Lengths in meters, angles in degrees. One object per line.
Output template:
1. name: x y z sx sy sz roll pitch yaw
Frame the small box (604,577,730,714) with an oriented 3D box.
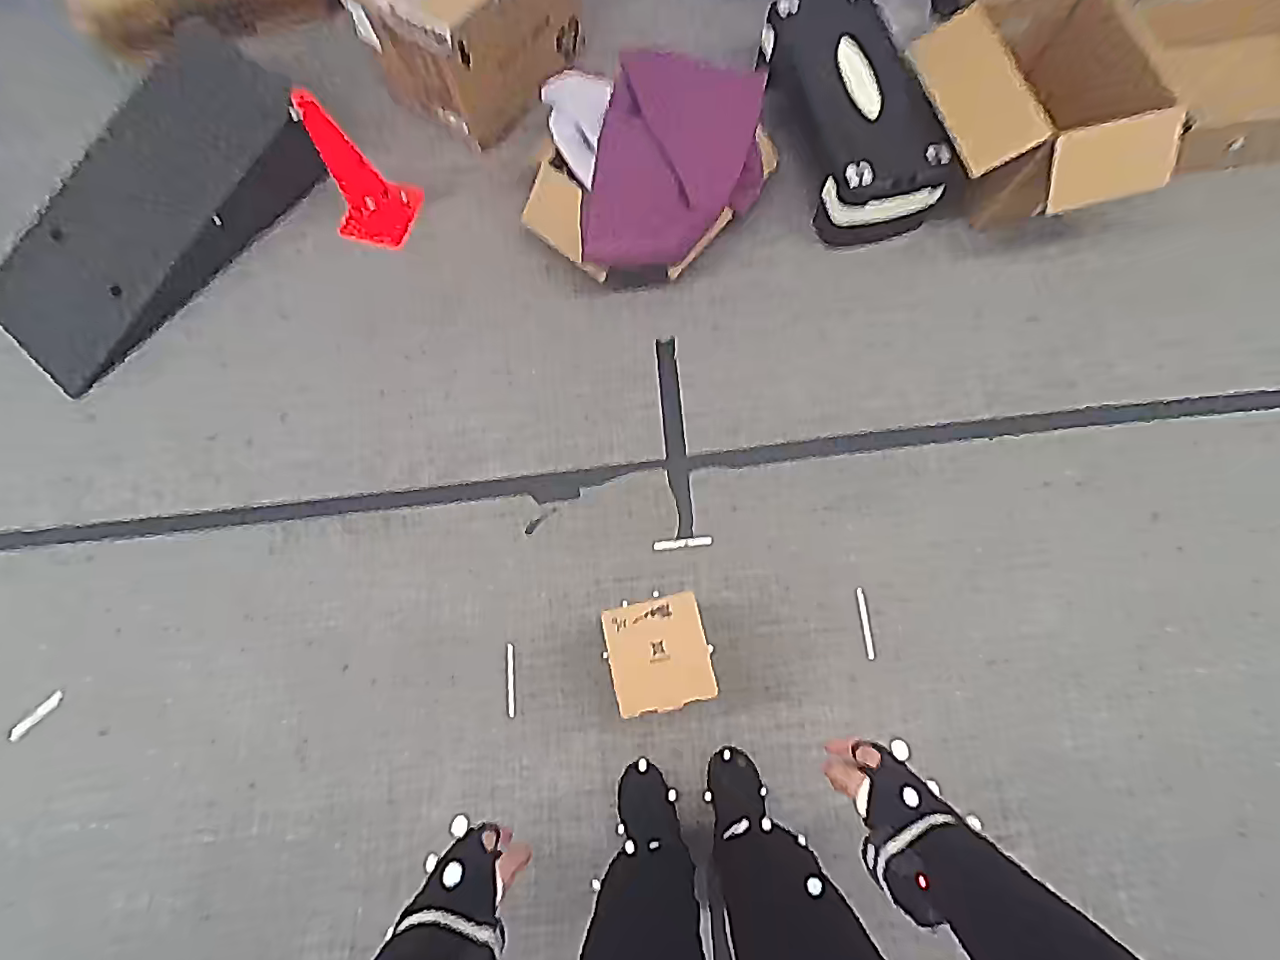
1. small box: 0.044 0.267 0.900 0.168 0.176 0.179 -13 76 -1
